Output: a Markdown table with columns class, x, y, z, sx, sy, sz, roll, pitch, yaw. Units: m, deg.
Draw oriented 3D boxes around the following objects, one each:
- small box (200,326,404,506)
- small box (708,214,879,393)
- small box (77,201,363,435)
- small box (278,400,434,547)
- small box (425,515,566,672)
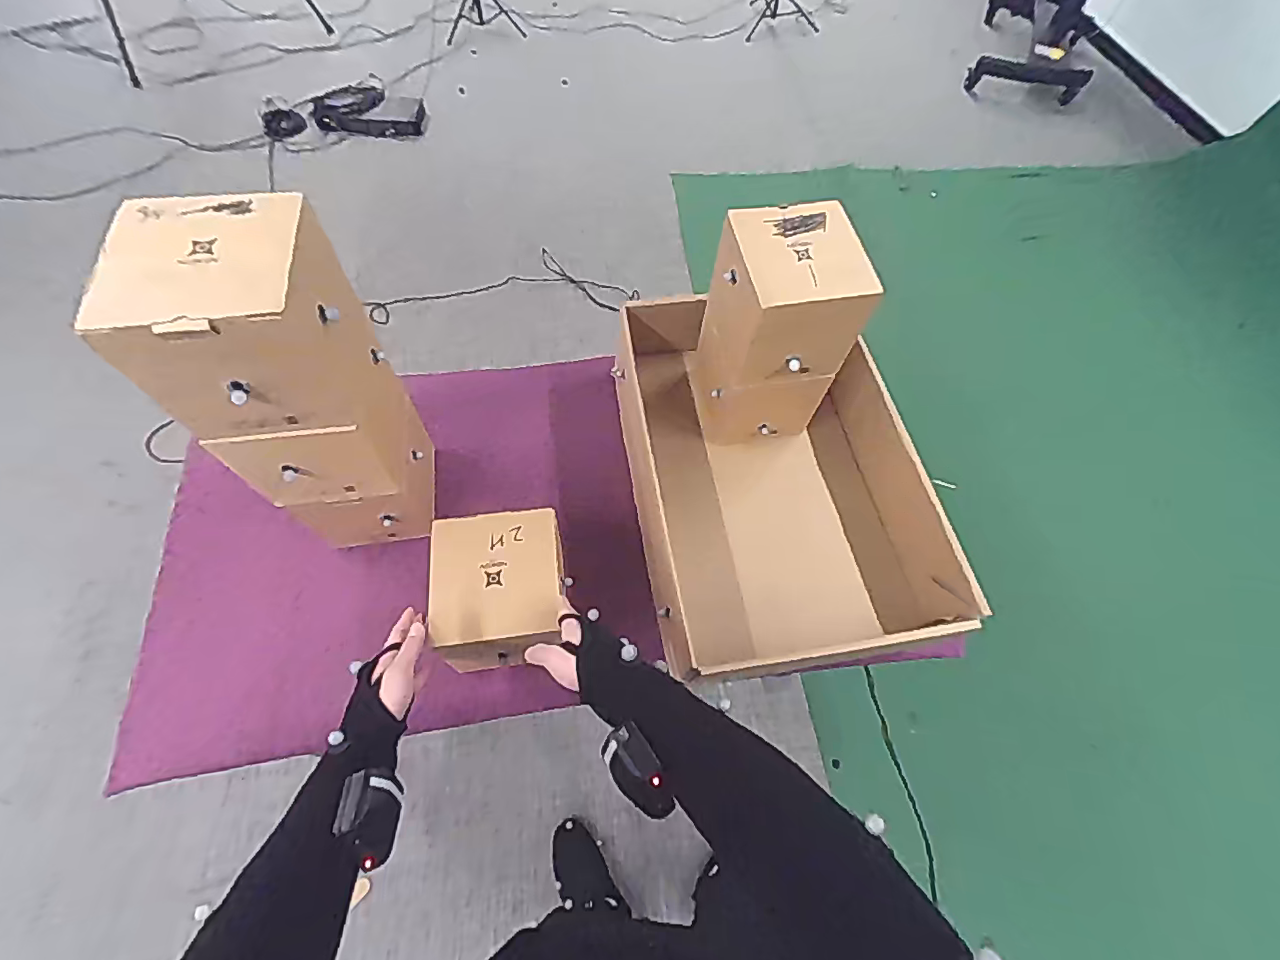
| class | x | y | z | sx | sy | sz | roll | pitch | yaw |
| --- | --- | --- | --- | --- | --- | --- | --- | --- | --- |
| small box | -0.422 | -0.076 | 0.711 | 0.168 | 0.176 | 0.179 | -7 | 62 | -8 |
| small box | 0.205 | -0.252 | 0.785 | 0.168 | 0.176 | 0.179 | -9 | 64 | -7 |
| small box | -0.410 | -0.160 | 0.570 | 0.168 | 0.176 | 0.179 | -7 | 62 | -9 |
| small box | -0.432 | -0.003 | 0.854 | 0.168 | 0.176 | 0.179 | -6 | 61 | -8 |
| small box | -0.197 | 0.169 | 0.773 | 0.168 | 0.176 | 0.179 | -5 | 61 | -8 |
